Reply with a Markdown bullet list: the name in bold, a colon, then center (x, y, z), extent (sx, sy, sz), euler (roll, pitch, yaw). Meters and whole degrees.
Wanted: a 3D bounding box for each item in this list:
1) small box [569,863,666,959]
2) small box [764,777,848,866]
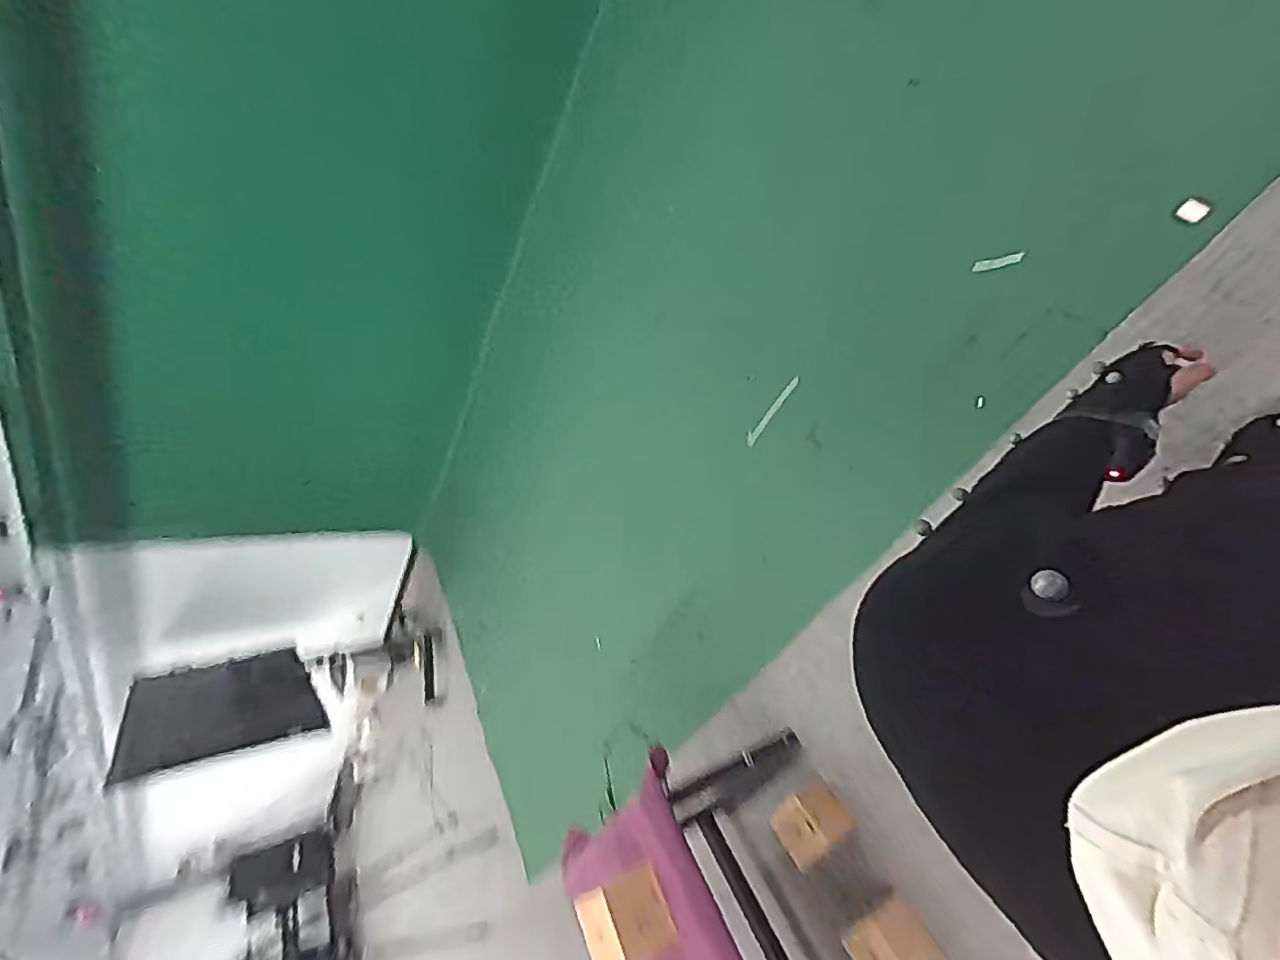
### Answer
- **small box**: center (-0.053, 1.139, 1.411), extent (0.179, 0.176, 0.168), euler (-54, 52, 36)
- **small box**: center (0.558, 1.138, 1.809), extent (0.168, 0.176, 0.179), euler (50, 126, 39)
